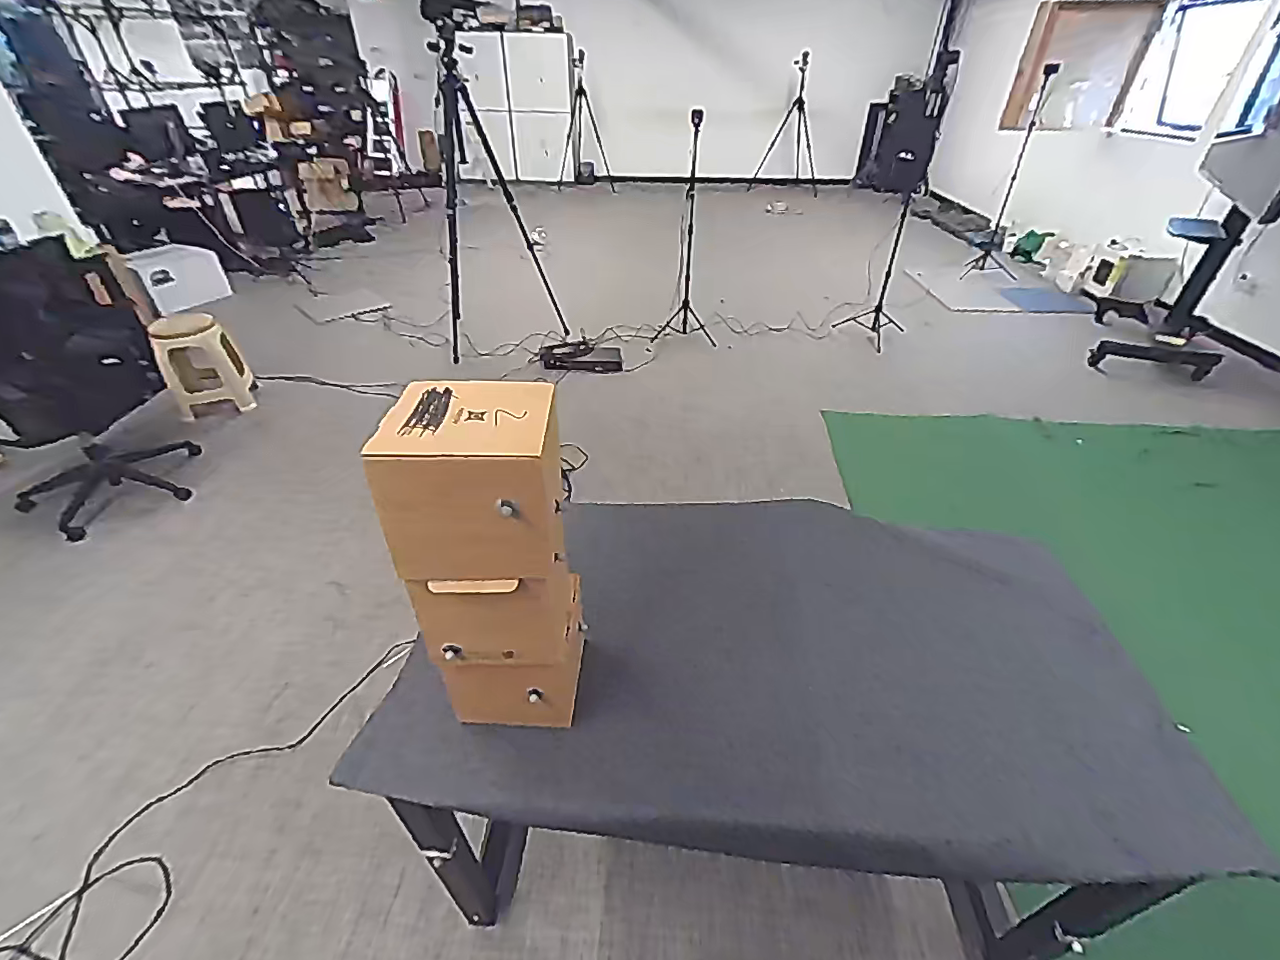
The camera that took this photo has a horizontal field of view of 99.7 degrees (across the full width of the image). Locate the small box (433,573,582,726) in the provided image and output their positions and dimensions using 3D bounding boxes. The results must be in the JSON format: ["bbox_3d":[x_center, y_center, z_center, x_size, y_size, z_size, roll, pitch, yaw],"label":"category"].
[{"bbox_3d":[-0.188,0.258,0.832,0.179,0.176,0.168,1,35,2],"label":"small box"}]

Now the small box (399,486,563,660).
[{"bbox_3d":[-0.198,0.127,0.734,0.168,0.176,0.179,-1,35,-2],"label":"small box"}]
